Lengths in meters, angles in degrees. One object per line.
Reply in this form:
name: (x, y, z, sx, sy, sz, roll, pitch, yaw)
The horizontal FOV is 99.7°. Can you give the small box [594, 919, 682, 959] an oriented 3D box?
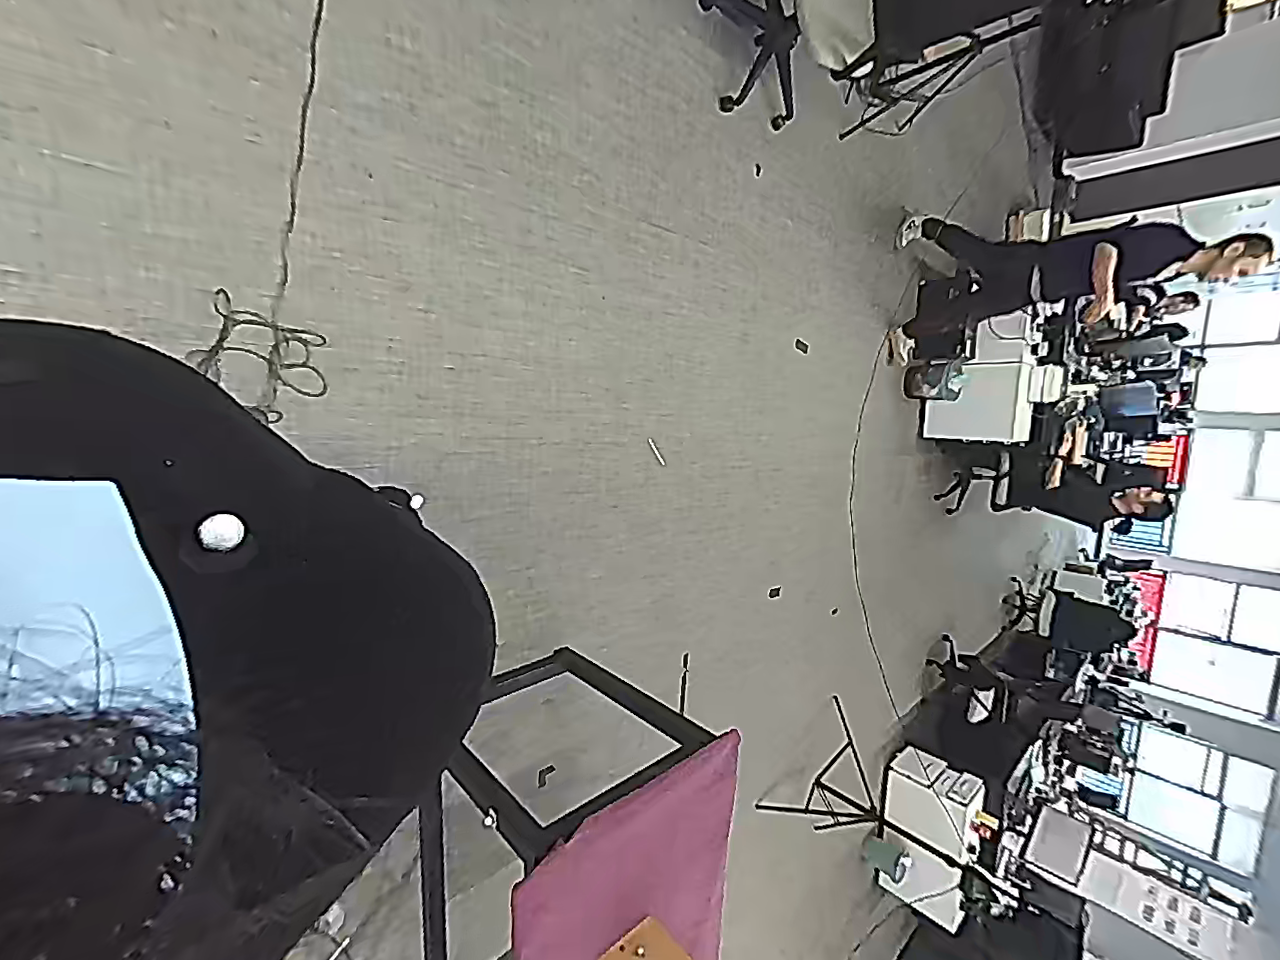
small box: (0.004, 1.141, 1.192, 0.168, 0.176, 0.179, -3, 99, -43)
